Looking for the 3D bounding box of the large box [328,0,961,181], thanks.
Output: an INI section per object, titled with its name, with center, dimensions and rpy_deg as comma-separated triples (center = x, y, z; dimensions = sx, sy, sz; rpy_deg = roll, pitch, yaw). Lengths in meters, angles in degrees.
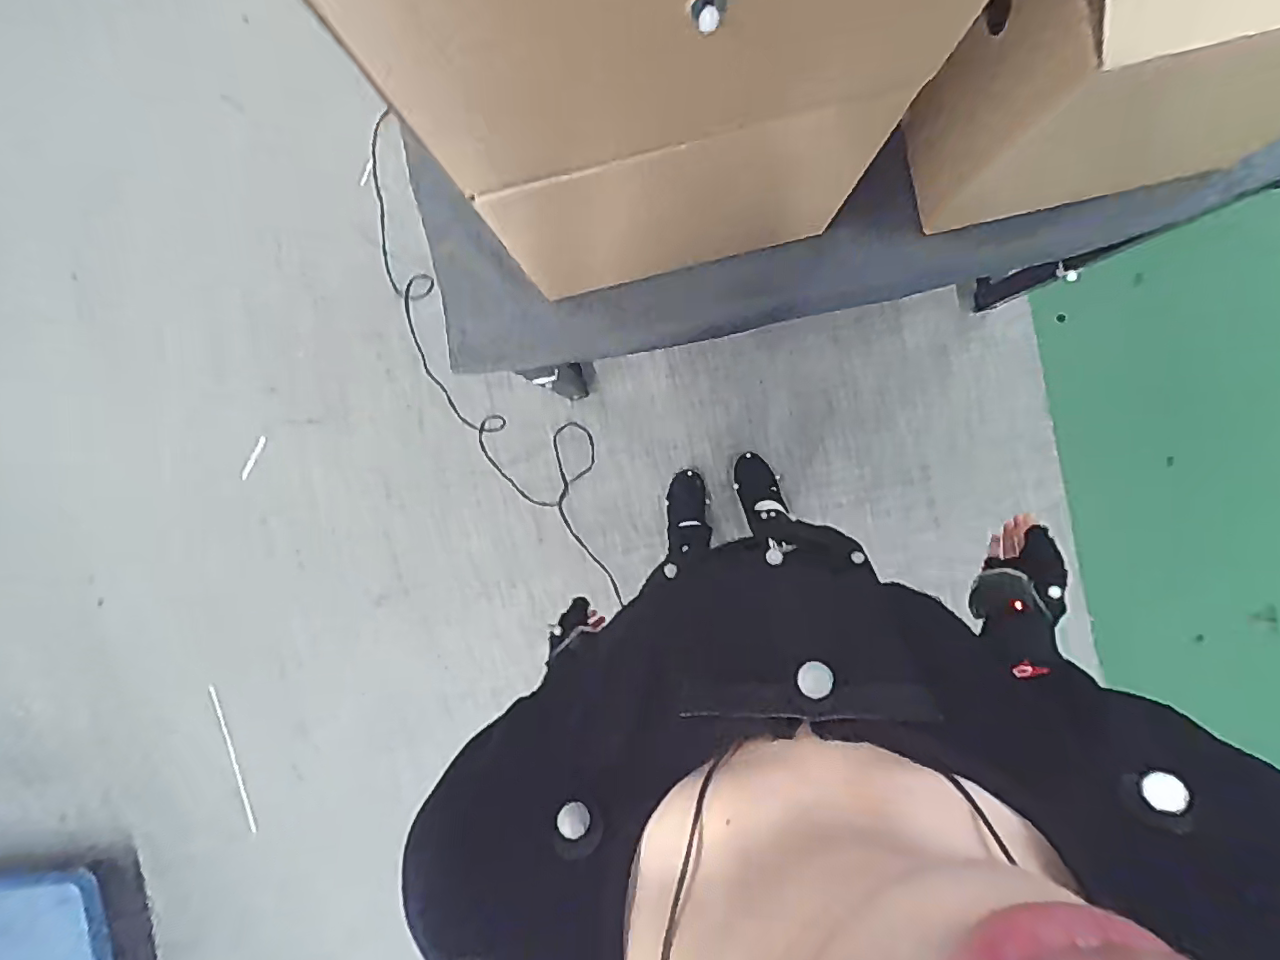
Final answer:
[large box]
center = 0.004, -0.435, 0.300
dimensions = 0.408, 0.320, 0.320
rpy_deg = -13, 92, 4
